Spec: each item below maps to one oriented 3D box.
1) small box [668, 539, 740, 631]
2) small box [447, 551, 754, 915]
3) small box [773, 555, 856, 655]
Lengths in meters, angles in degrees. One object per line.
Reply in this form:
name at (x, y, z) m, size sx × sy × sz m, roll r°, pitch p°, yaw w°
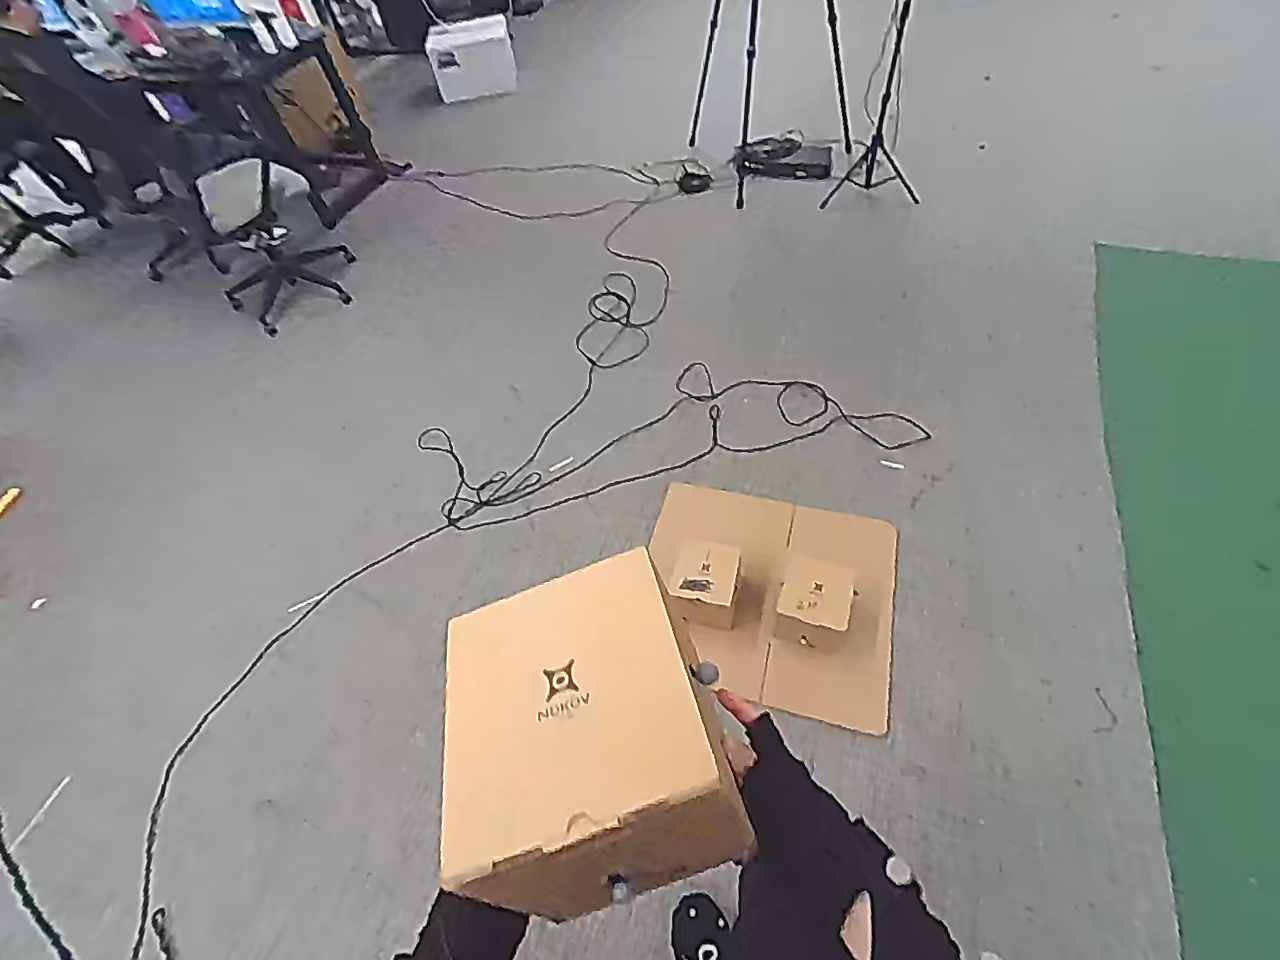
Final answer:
small box at (0.176, 0.288, 1.463) m, size 0.168 × 0.176 × 0.179 m, roll 9°, pitch 55°, yaw 15°
small box at (-0.027, 0.191, 0.412) m, size 0.168 × 0.176 × 0.179 m, roll -21°, pitch 43°, yaw 1°
small box at (0.446, 0.325, 1.399) m, size 0.168 × 0.176 × 0.179 m, roll 13°, pitch 58°, yaw 19°
